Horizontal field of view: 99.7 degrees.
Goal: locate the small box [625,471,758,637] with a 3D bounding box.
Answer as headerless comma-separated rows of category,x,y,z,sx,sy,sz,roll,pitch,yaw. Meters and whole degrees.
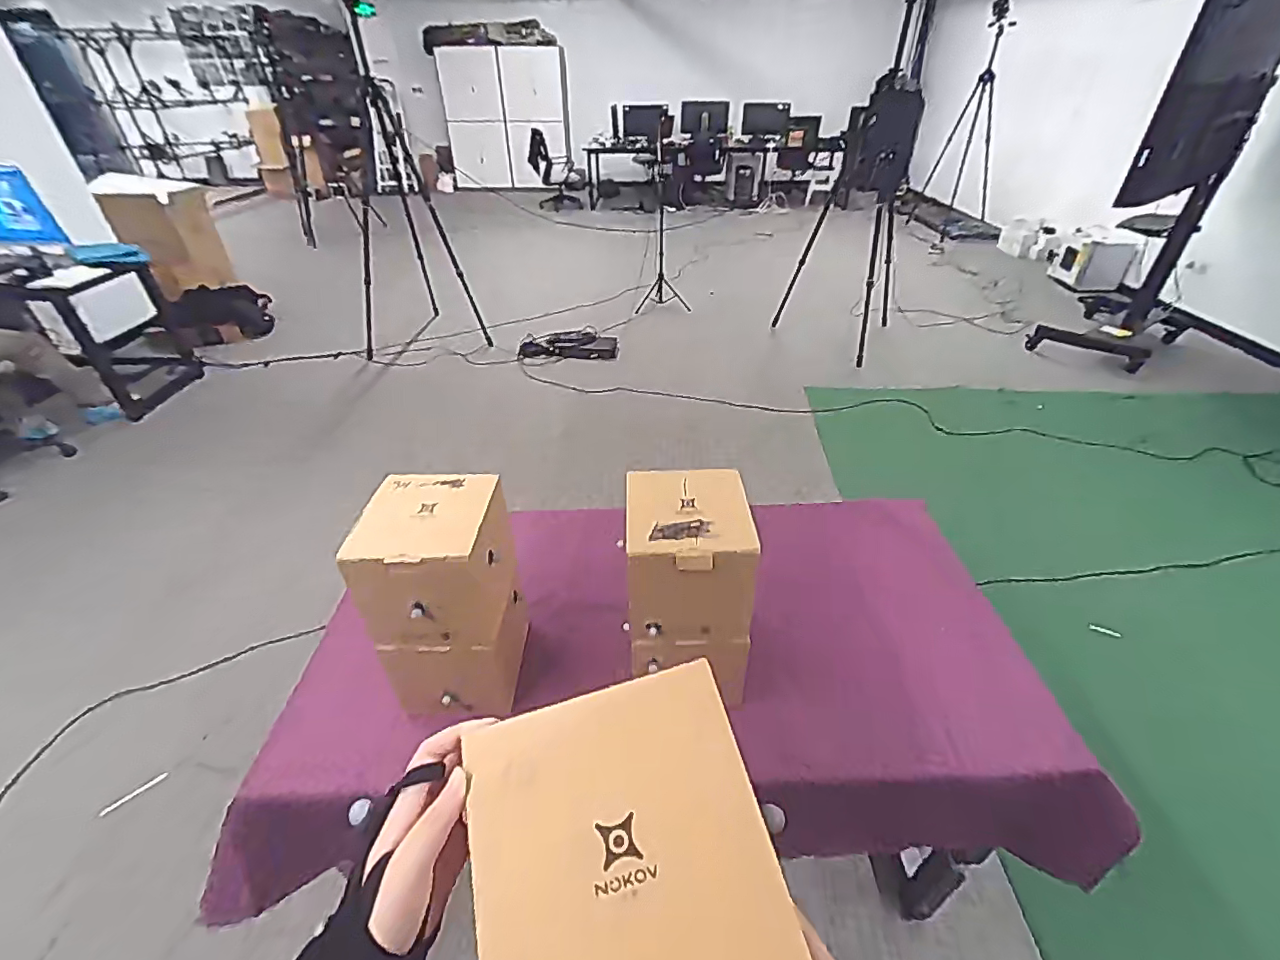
small box,0.064,0.106,0.766,0.168,0.176,0.179,-1,35,-1

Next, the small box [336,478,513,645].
small box,-0.283,0.115,0.760,0.168,0.176,0.179,0,36,0

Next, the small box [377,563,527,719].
small box,-0.281,0.250,0.855,0.168,0.176,0.179,-1,36,1
